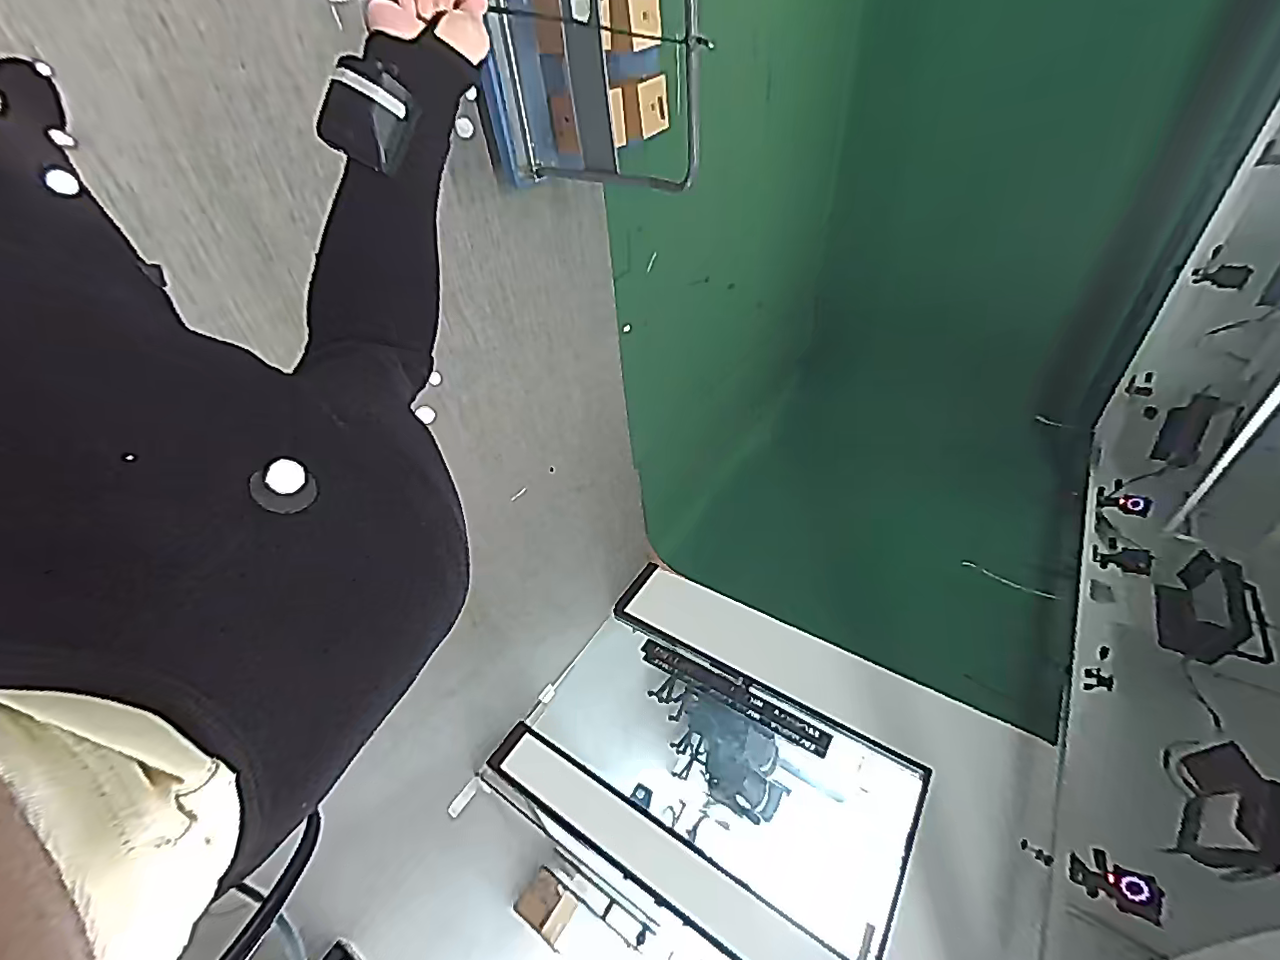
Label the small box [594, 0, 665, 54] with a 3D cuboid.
[{"bbox_3d":[-0.039,-1.537,1.795,0.179,0.176,0.168,-48,145,-33],"label":"small box"}]

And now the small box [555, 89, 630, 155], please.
[{"bbox_3d":[-0.157,-1.202,1.811,0.179,0.176,0.168,-44,142,-36],"label":"small box"}]

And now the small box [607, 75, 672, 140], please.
[{"bbox_3d":[-0.003,-1.358,1.969,0.179,0.176,0.168,-47,143,-32],"label":"small box"}]
